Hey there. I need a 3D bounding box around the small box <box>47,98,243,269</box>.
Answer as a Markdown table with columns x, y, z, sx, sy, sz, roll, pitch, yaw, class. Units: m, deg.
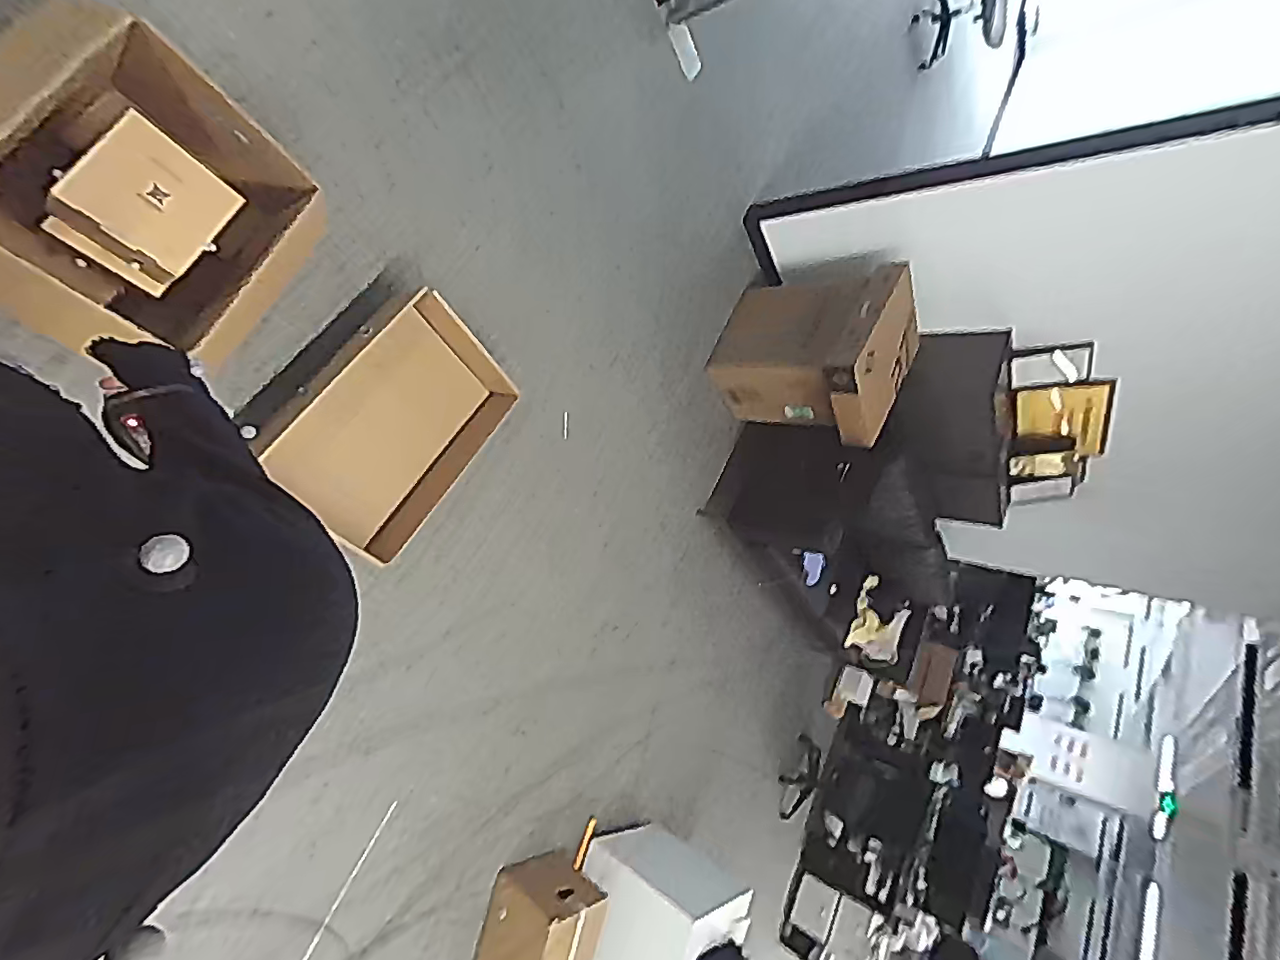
| x | y | z | sx | sy | sz | roll | pitch | yaw | class |
| --- | --- | --- | --- | --- | --- | --- | --- | --- | --- |
| -0.802 | -0.467 | 0.881 | 0.168 | 0.176 | 0.179 | 44 | 67 | -47 | small box |
